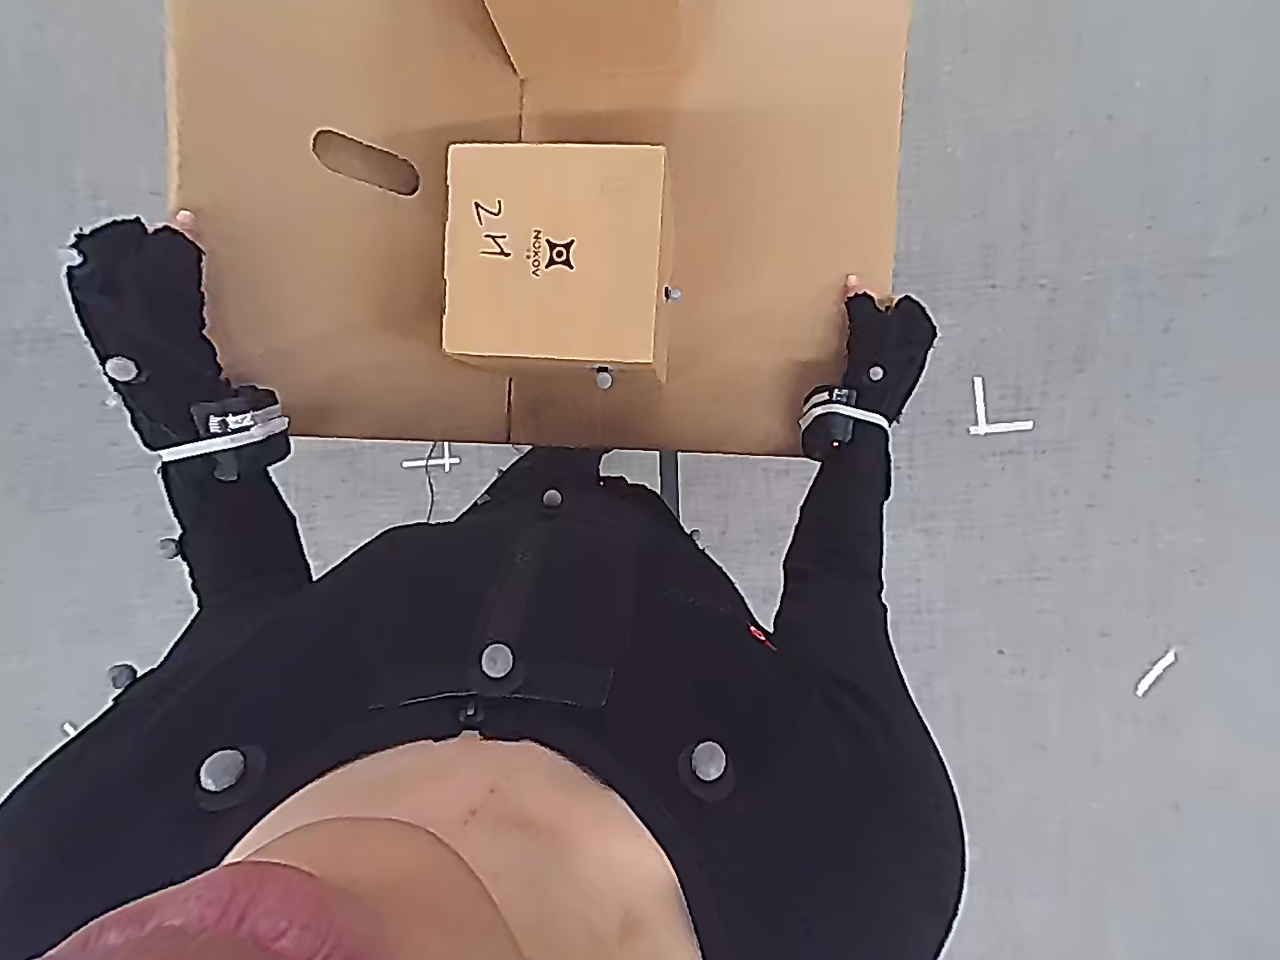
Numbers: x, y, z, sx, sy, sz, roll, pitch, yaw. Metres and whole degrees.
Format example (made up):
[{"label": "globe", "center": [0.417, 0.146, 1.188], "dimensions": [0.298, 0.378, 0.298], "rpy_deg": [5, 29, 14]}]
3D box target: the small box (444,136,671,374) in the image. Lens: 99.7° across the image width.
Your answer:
[{"label": "small box", "center": [-0.064, -0.196, 0.516], "dimensions": [0.179, 0.176, 0.168], "rpy_deg": [4, 94, 6]}]
